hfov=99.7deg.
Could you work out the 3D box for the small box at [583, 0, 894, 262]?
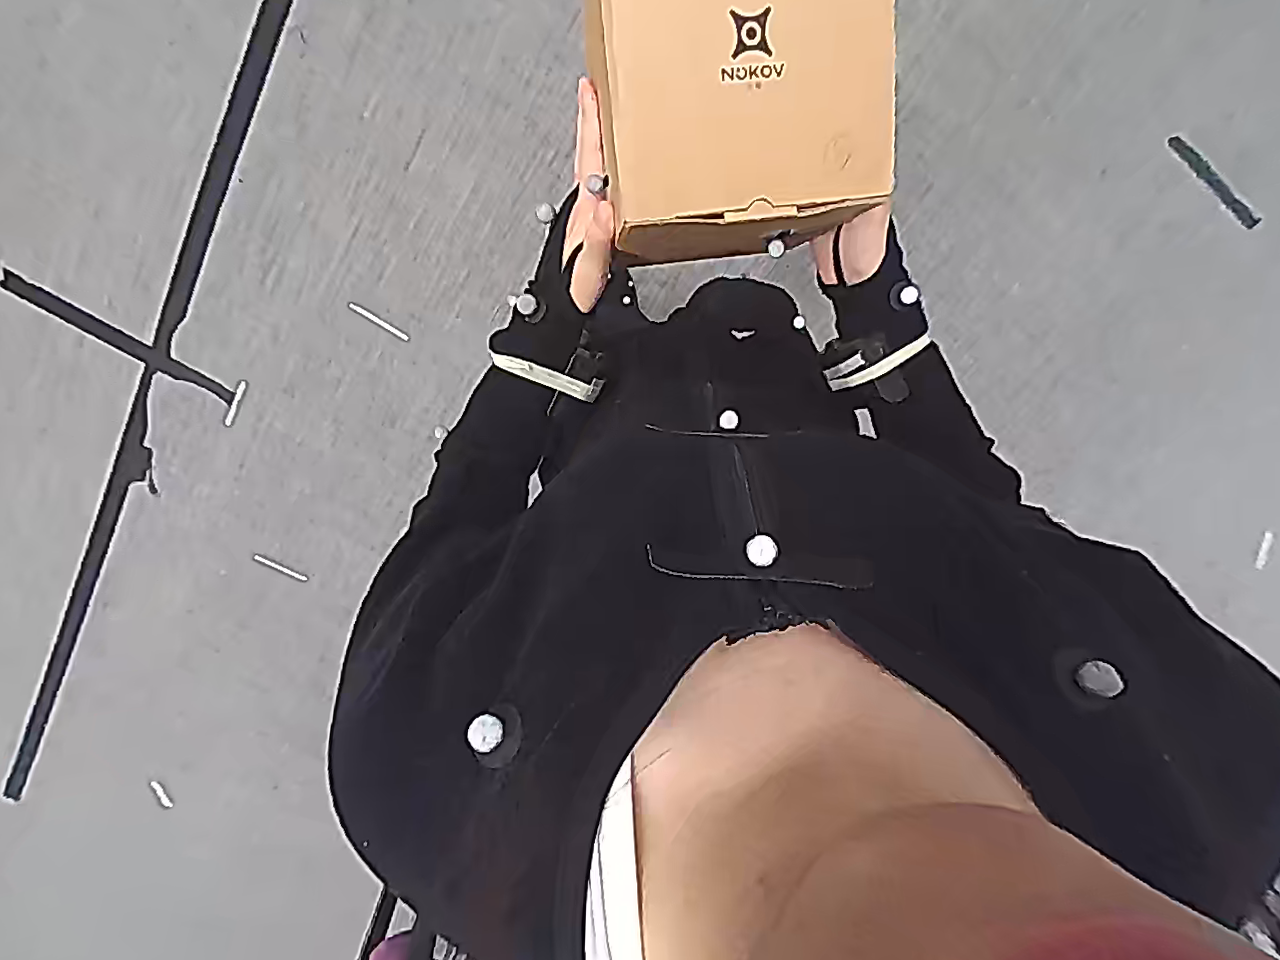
[{"bbox_3d":[0.053,-0.257,0.375,0.168,0.176,0.179,-8,103,-5],"label":"small box"}]
